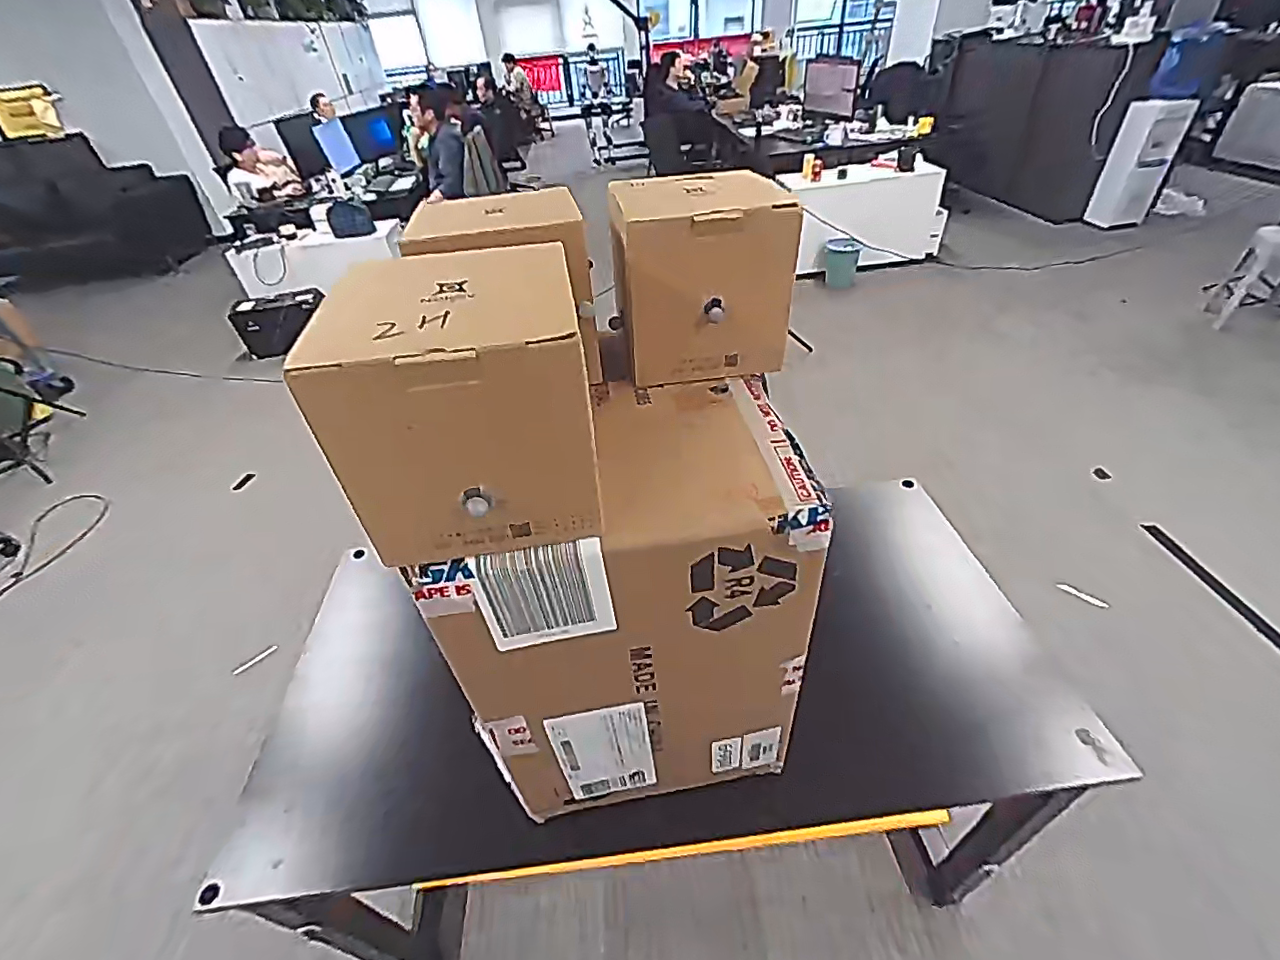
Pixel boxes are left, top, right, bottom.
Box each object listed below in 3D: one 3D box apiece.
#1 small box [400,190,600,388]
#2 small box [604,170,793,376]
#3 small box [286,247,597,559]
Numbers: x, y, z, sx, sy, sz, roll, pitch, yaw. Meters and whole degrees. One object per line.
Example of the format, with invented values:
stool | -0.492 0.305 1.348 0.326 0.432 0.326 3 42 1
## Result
small box | -0.144 -0.205 0.598 0.168 0.176 0.179 -11 39 -7
small box | 0.055 -0.226 0.599 0.168 0.176 0.179 -7 40 -5
small box | -0.129 -0.064 0.424 0.168 0.176 0.179 -8 42 -5
